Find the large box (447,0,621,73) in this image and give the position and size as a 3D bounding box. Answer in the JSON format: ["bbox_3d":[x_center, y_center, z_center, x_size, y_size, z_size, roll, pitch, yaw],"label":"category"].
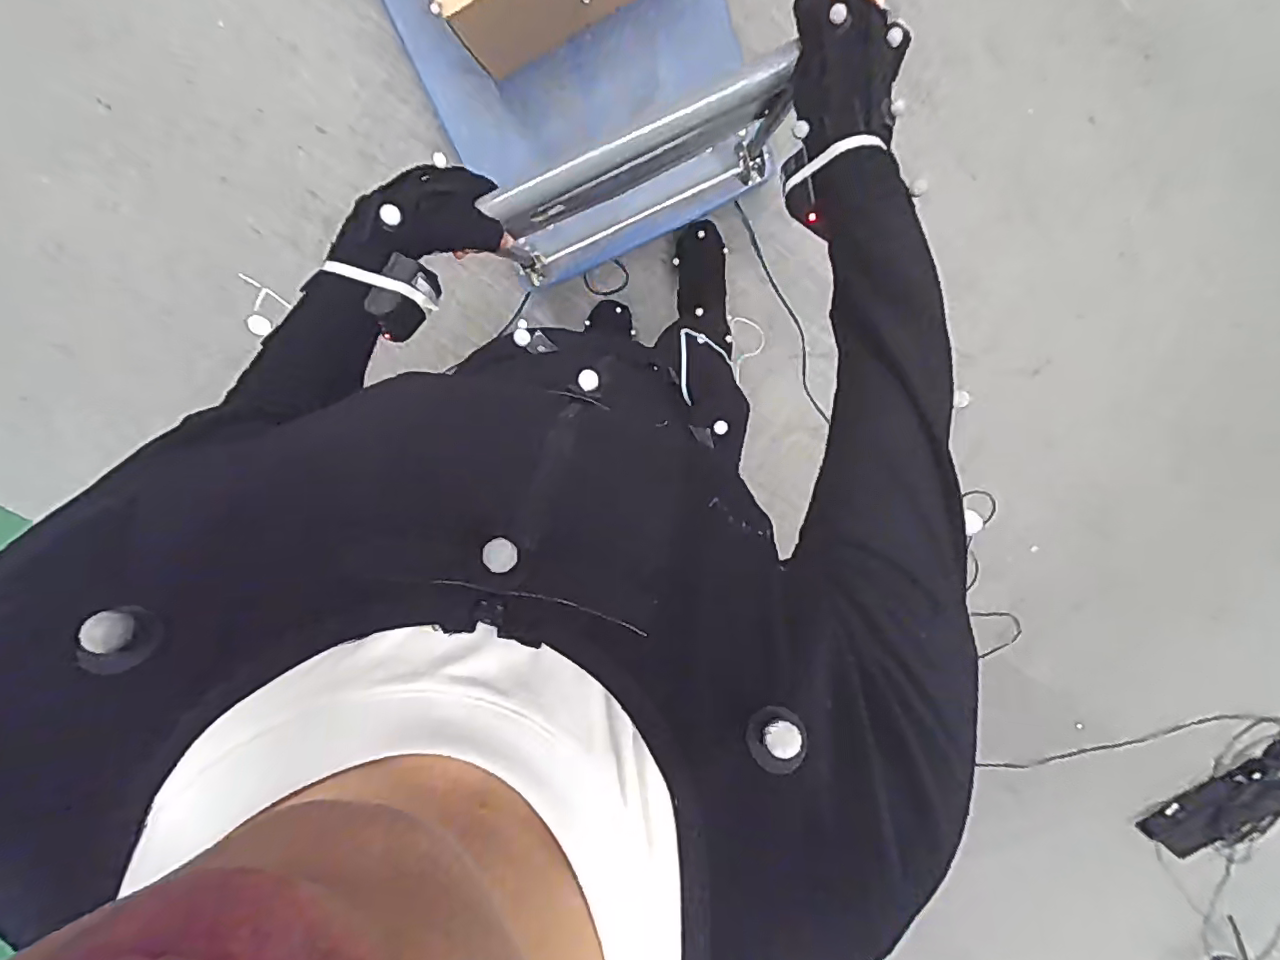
[{"bbox_3d":[-0.148,-0.912,0.804,0.408,0.320,0.320,-24,111,10],"label":"large box"}]
